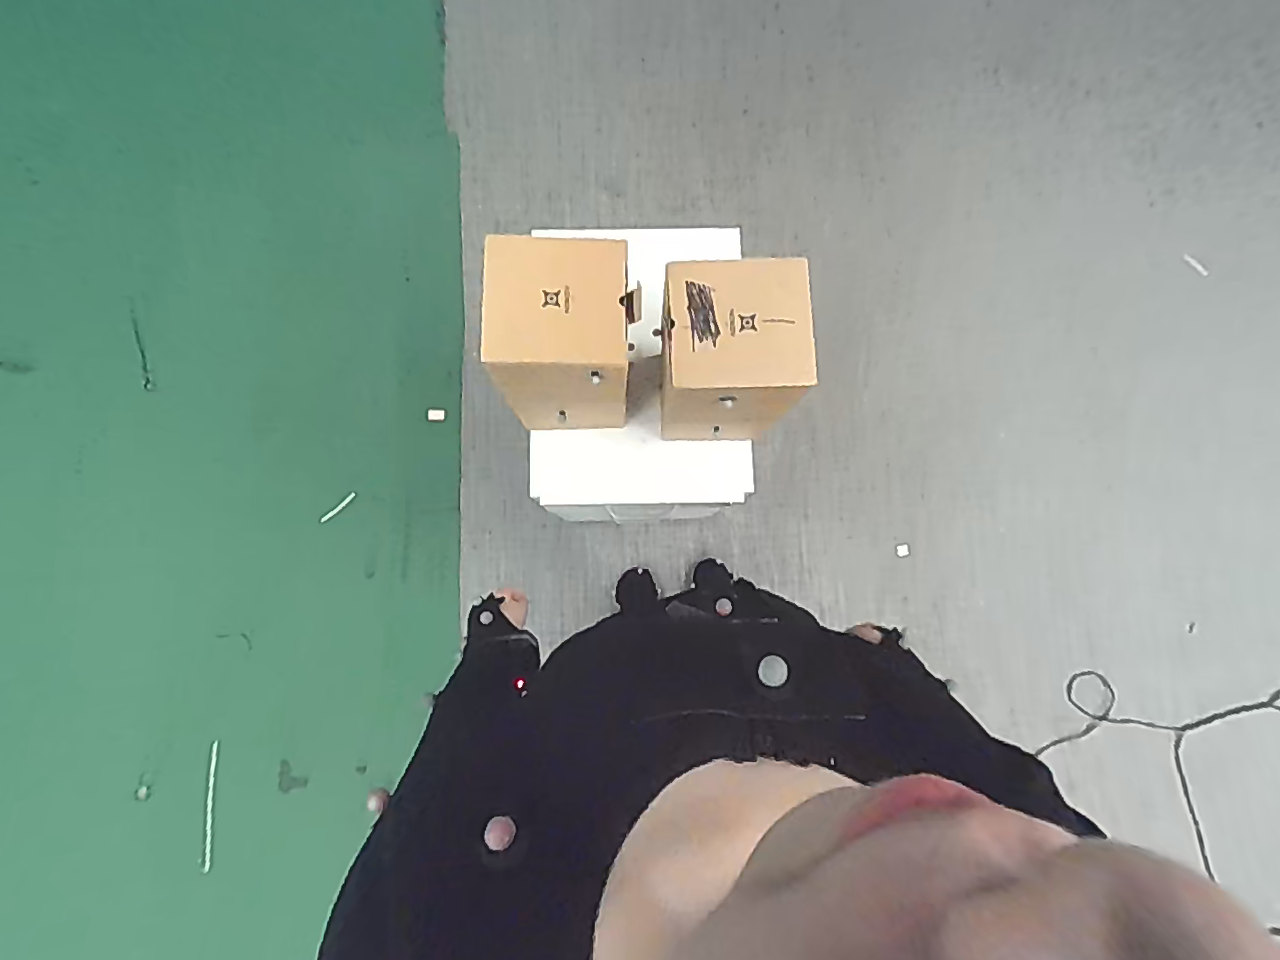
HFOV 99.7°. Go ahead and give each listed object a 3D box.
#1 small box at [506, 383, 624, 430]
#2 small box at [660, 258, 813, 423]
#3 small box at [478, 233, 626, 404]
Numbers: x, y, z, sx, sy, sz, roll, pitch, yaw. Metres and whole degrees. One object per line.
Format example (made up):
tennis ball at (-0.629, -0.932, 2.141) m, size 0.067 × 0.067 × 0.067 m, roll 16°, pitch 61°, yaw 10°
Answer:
small box at (-0.117, -0.181, 0.891) m, size 0.179 × 0.176 × 0.168 m, roll -2°, pitch 81°, yaw -4°
small box at (0.117, -0.178, 0.730) m, size 0.179 × 0.176 × 0.168 m, roll -1°, pitch 80°, yaw -2°
small box at (-0.109, -0.206, 0.729) m, size 0.179 × 0.176 × 0.168 m, roll 0°, pitch 80°, yaw -5°
